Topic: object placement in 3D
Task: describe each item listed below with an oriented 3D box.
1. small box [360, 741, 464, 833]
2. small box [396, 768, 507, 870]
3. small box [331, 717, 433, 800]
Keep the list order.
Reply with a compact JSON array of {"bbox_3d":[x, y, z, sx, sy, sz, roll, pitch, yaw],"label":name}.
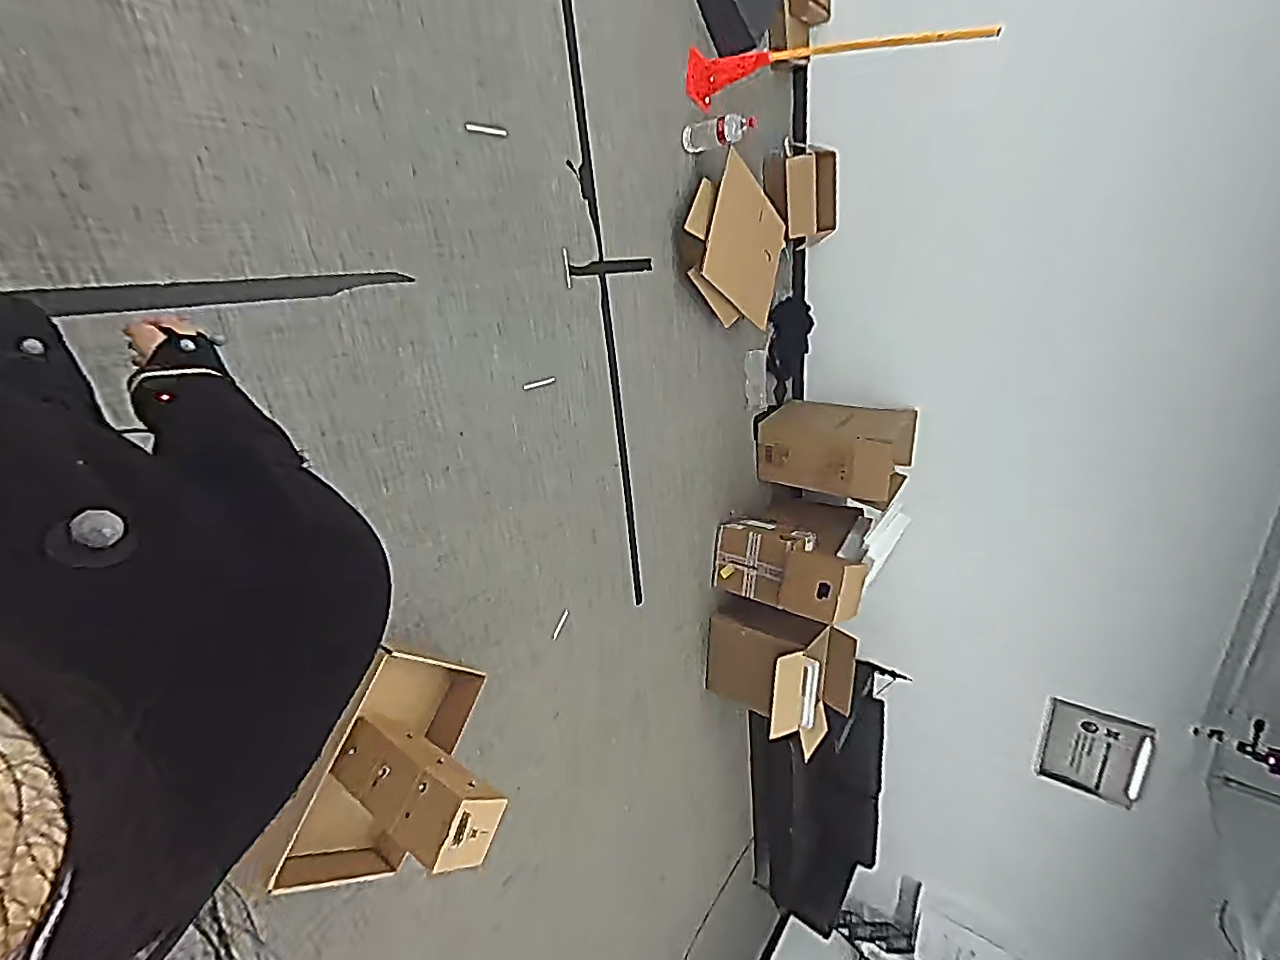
[{"bbox_3d":[-0.621,0.837,1.483,0.179,0.176,0.168,44,63,-49],"label":"small box"},{"bbox_3d":[-0.486,0.862,1.391,0.179,0.176,0.168,44,63,-51],"label":"small box"},{"bbox_3d":[-0.750,0.811,1.576,0.179,0.176,0.168,46,61,-49],"label":"small box"}]
